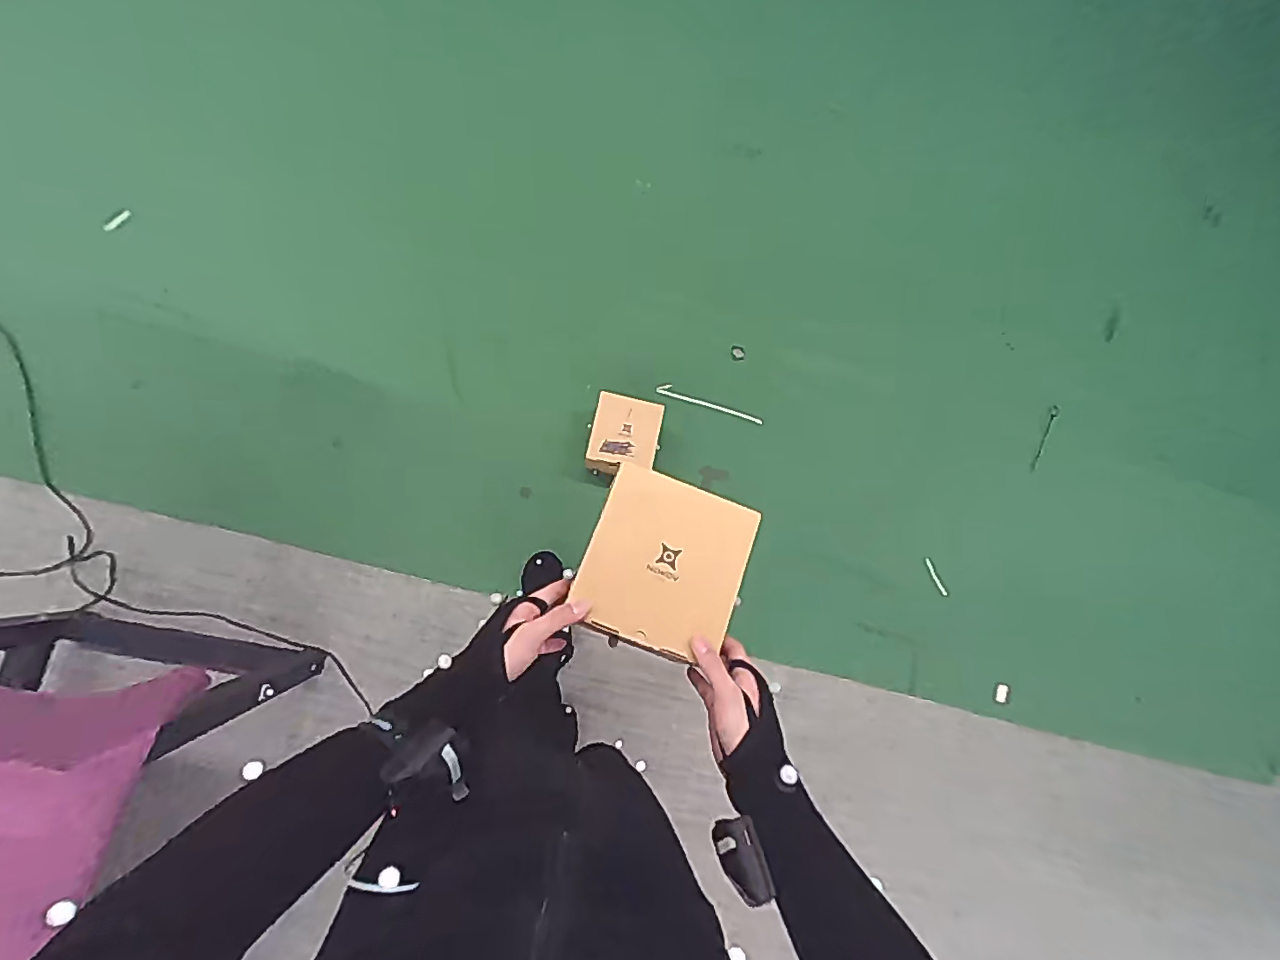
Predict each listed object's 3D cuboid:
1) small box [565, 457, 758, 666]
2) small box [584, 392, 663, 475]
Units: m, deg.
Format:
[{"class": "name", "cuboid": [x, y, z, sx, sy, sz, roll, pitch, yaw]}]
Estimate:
[{"class": "small box", "cuboid": [0.014, 0.101, 0.642, 0.168, 0.176, 0.179, 22, 74, -3]}, {"class": "small box", "cuboid": [-0.048, -0.106, 1.407, 0.168, 0.176, 0.179, 13, 81, -6]}]
